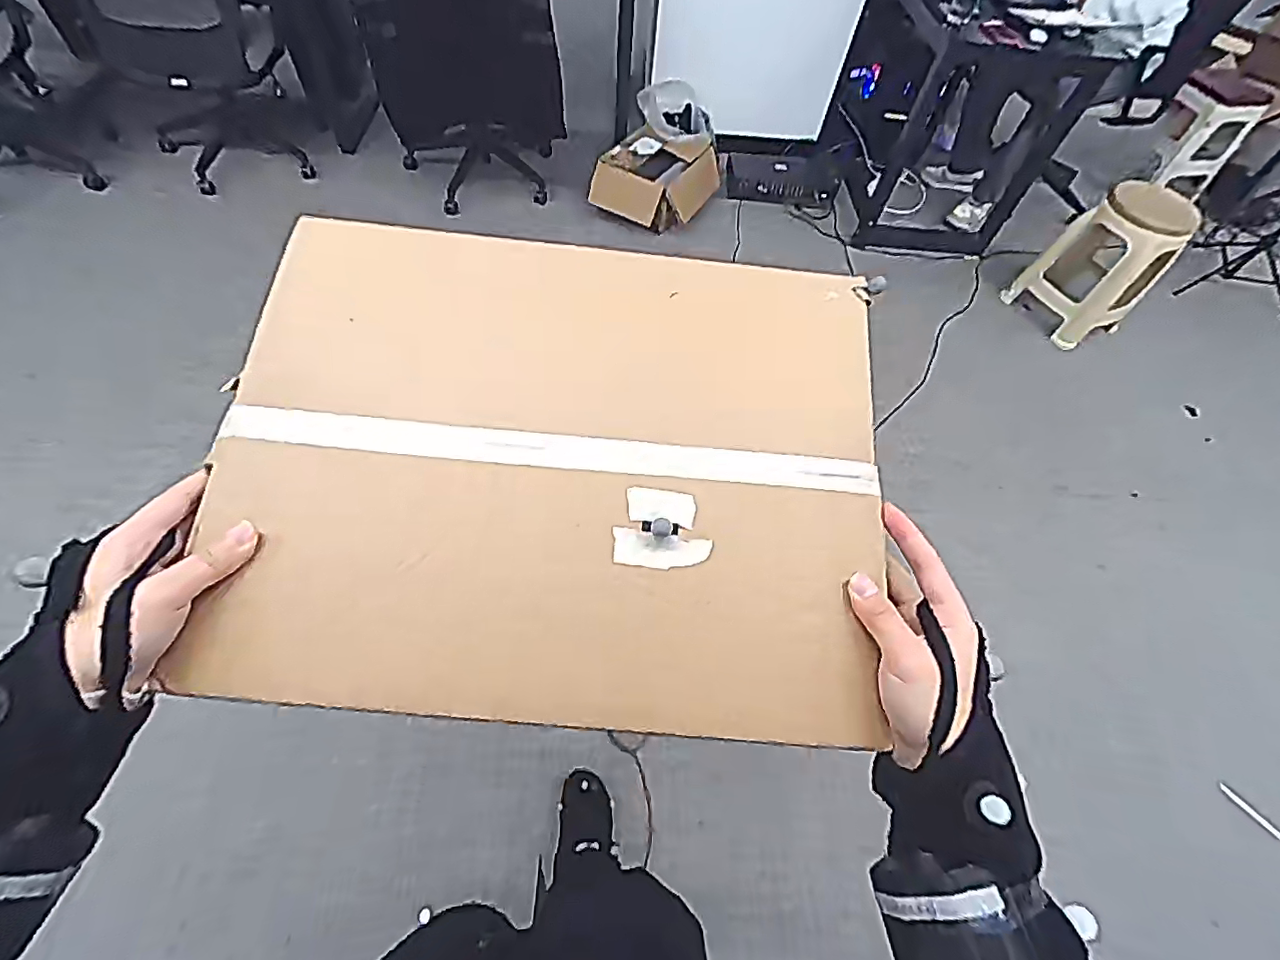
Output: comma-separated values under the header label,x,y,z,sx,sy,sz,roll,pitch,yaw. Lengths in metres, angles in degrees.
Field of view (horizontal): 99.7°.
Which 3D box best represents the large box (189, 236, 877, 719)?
label,x,y,z,sx,sy,sz,roll,pitch,yaw
large box,-0.058,0.026,0.497,0.408,0.320,0.320,6,73,-2
